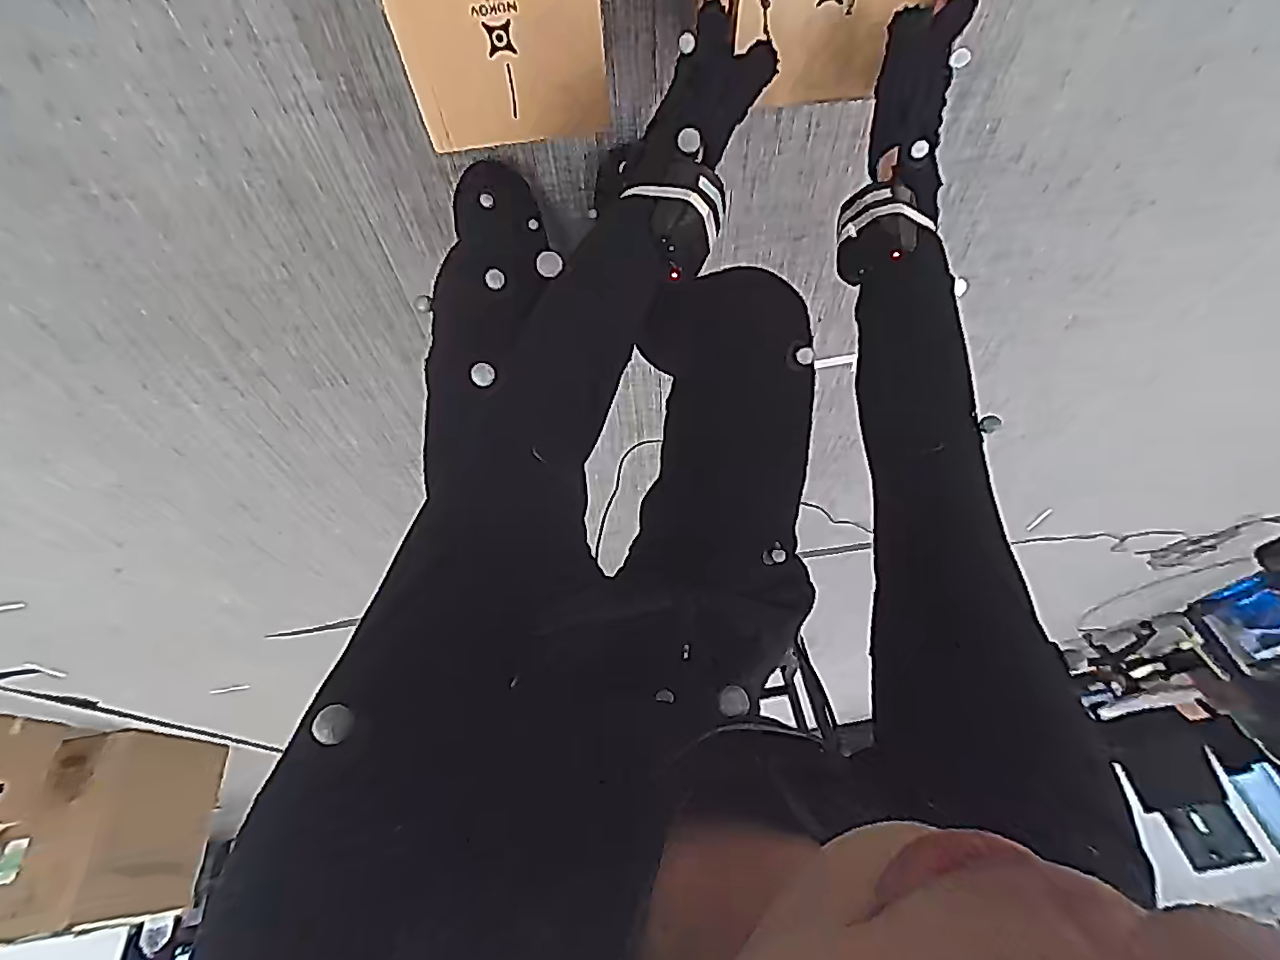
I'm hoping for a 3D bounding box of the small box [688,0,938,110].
[{"bbox_3d":[0.152,-0.461,0.481,0.179,0.176,0.168,-8,146,-6],"label":"small box"}]

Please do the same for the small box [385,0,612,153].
[{"bbox_3d":[-0.121,-0.421,0.466,0.168,0.176,0.179,-8,146,-2],"label":"small box"}]
